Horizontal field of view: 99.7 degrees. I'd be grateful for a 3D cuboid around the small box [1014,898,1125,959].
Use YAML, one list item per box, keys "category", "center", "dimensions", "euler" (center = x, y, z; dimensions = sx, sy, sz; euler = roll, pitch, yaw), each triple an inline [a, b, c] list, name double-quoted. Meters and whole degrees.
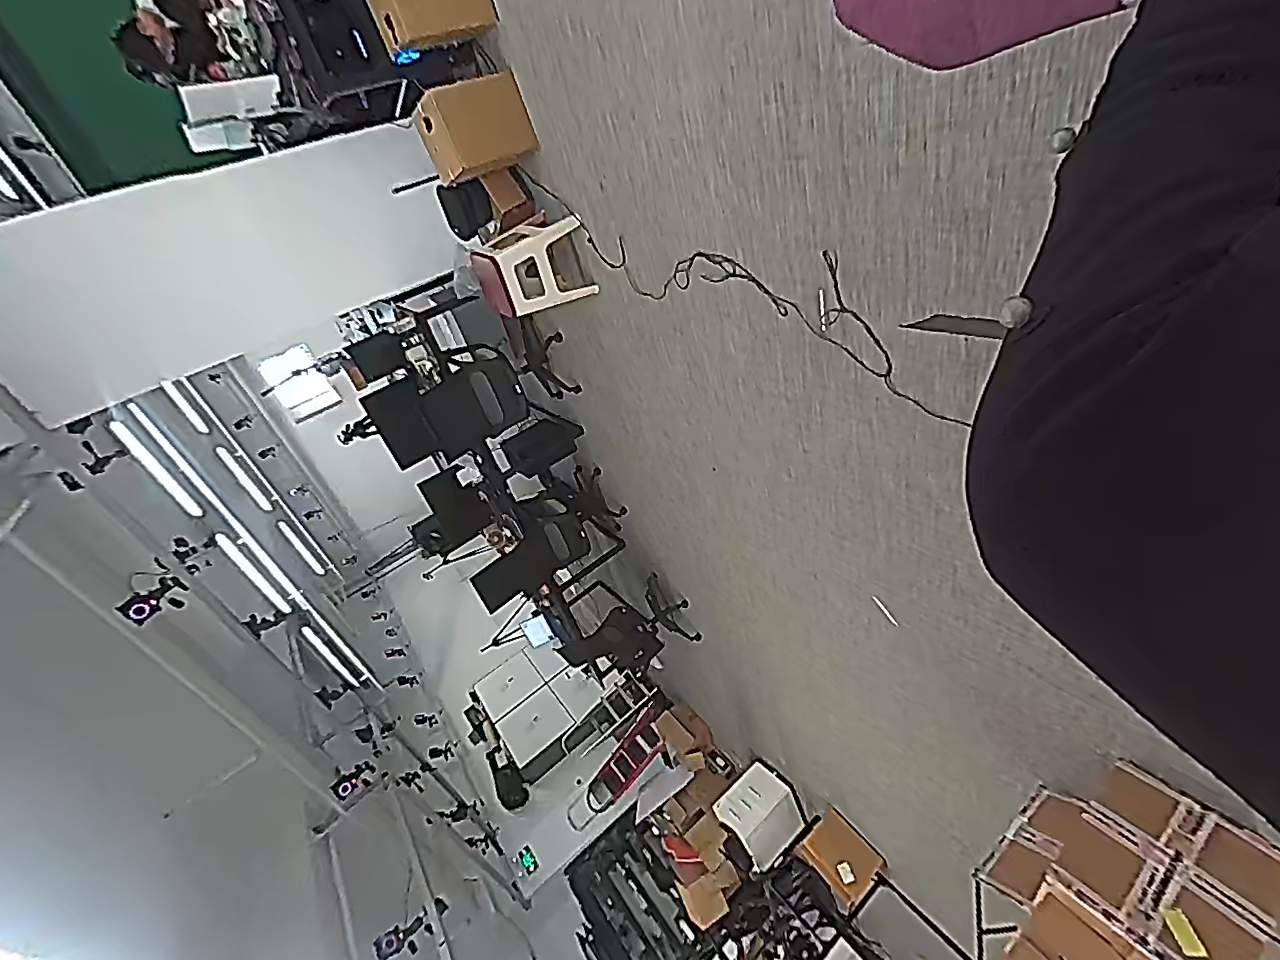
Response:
- category: "small box"
  center: [1.214, 1.343, 1.529]
  dimensions: [0.179, 0.176, 0.168]
  euler: [37, 149, 45]
